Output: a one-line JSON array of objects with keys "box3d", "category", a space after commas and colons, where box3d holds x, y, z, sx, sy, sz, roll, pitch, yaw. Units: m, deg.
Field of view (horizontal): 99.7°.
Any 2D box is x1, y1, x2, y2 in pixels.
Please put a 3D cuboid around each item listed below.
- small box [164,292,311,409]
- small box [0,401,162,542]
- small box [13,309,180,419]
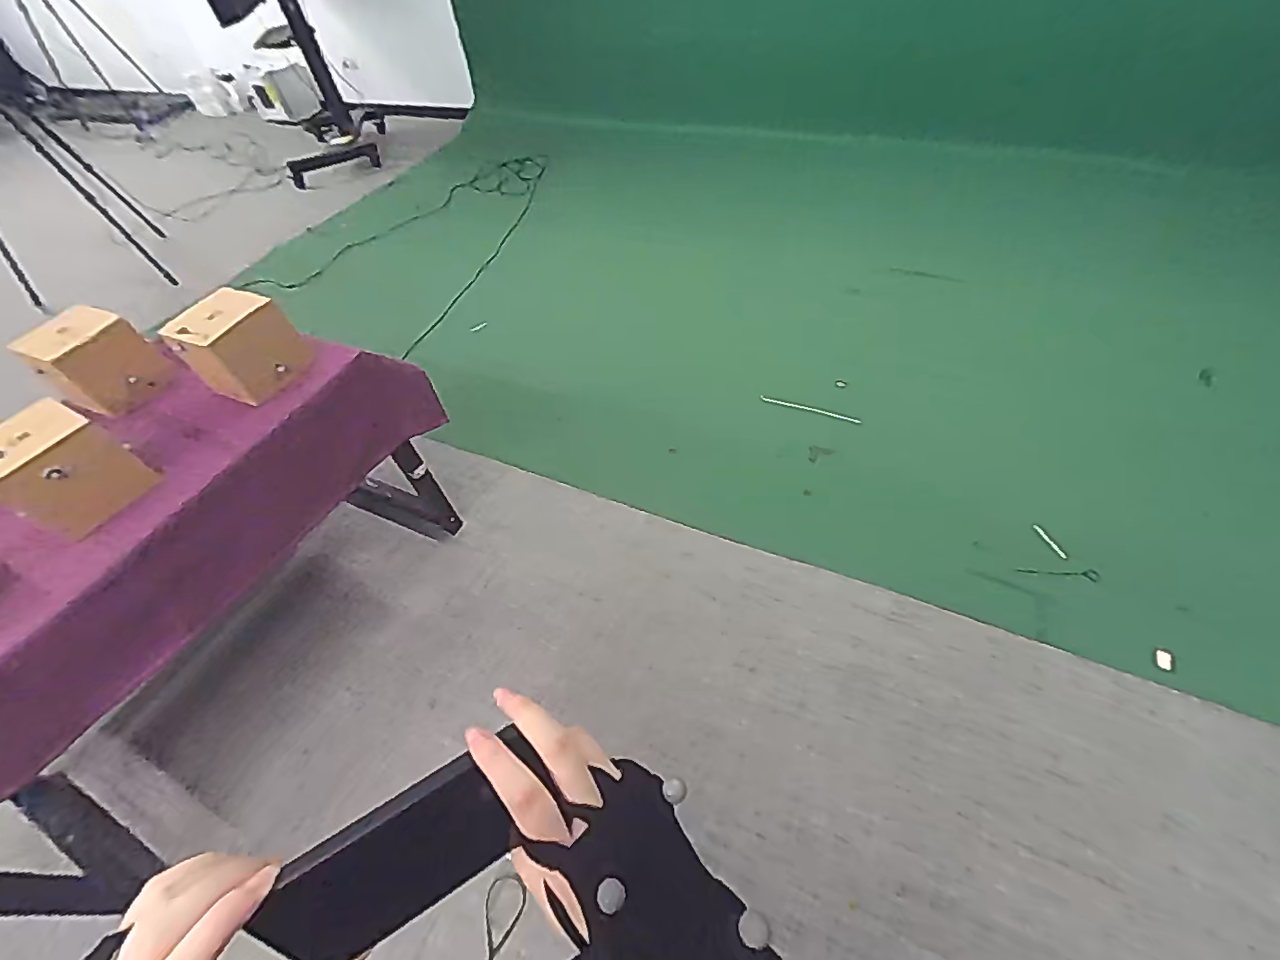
[{"box3d": [-0.882, -0.290, 1.211, 0.168, 0.176, 0.179, 17, 55, 20], "category": "small box"}, {"box3d": [-1.073, -0.013, 1.013, 0.168, 0.176, 0.179, 21, 56, 22], "category": "small box"}, {"box3d": [-1.226, -0.262, 1.233, 0.179, 0.176, 0.168, 16, 55, 19], "category": "small box"}]
